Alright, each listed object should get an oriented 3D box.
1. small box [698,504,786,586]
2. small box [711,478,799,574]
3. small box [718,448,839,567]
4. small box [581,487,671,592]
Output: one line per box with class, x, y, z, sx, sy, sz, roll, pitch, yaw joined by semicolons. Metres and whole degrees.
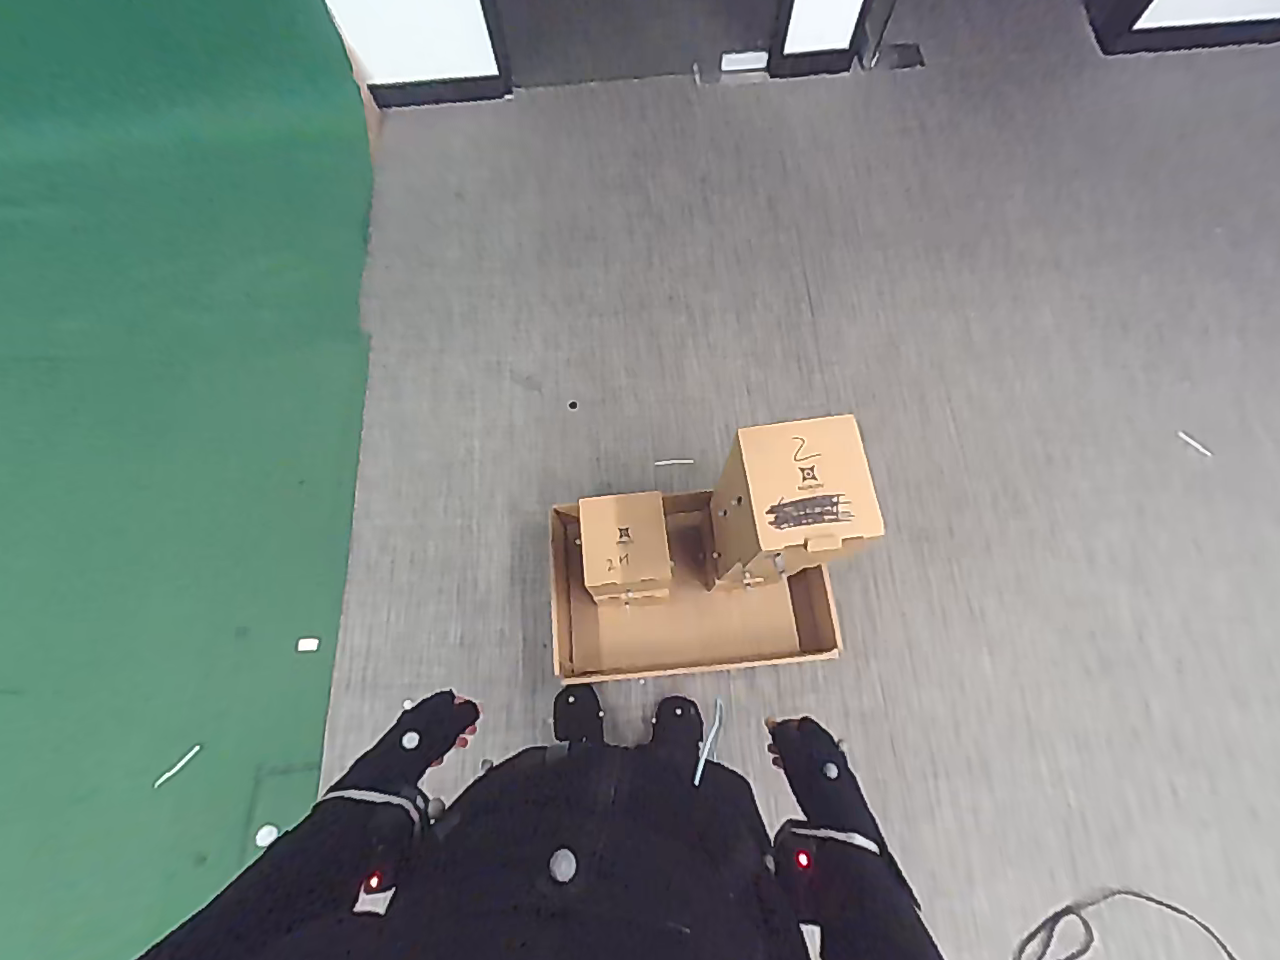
small box;0.233;0.150;1.273;0.168;0.176;0.179;-10;72;0
small box;0.241;0.094;1.101;0.168;0.176;0.179;-6;73;1
small box;0.234;0.057;0.959;0.168;0.176;0.179;-4;73;0
small box;-0.030;0.127;1.113;0.168;0.176;0.179;-6;72;-1
